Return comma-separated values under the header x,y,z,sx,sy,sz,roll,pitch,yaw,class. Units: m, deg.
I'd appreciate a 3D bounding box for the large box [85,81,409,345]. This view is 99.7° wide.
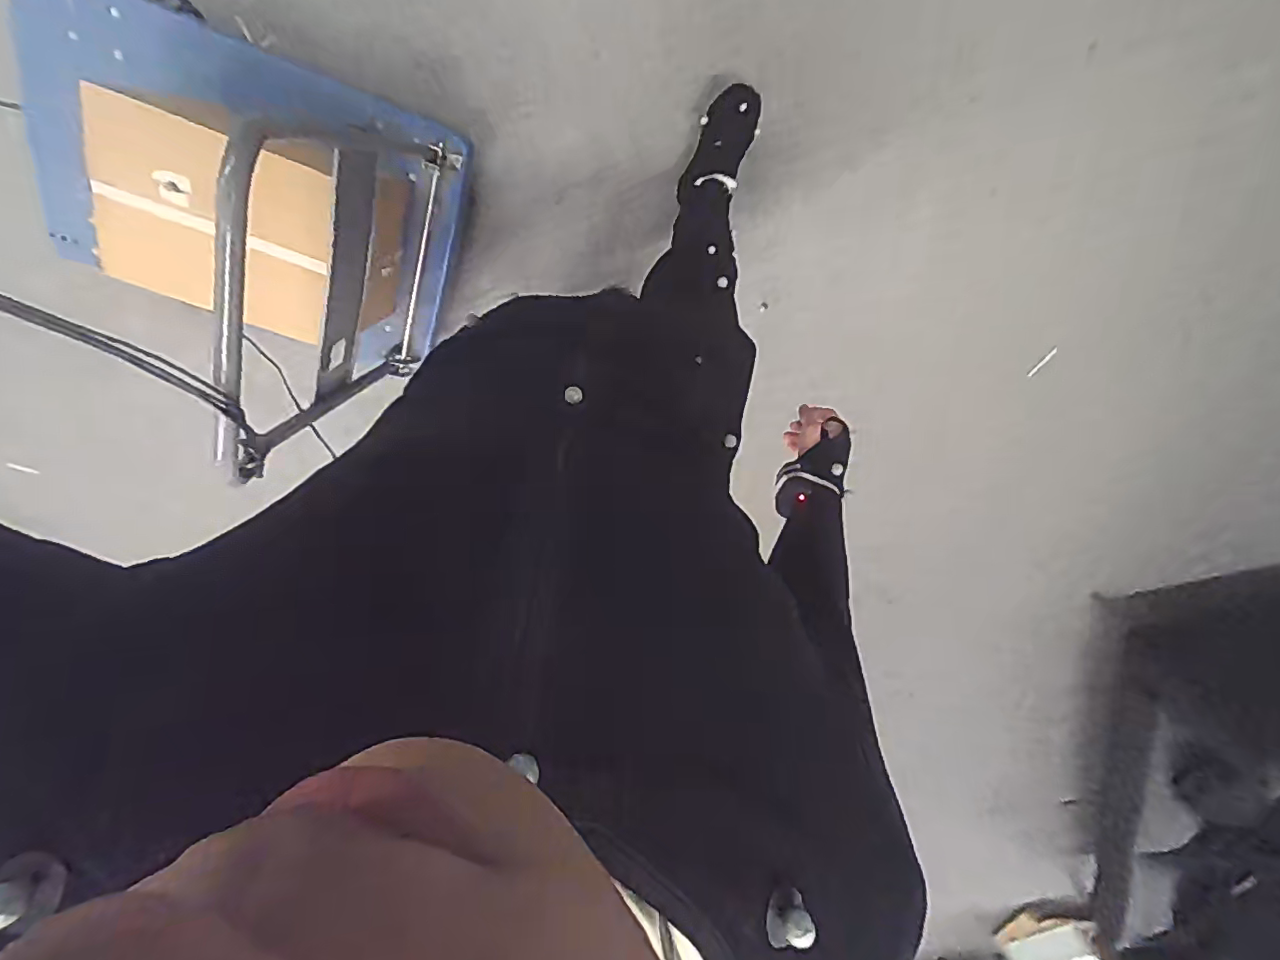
x,y,z,sx,sy,sz,roll,pitch,yaw,class
-0.731,-0.517,1.074,0.408,0.320,0.320,19,118,-9,large box
